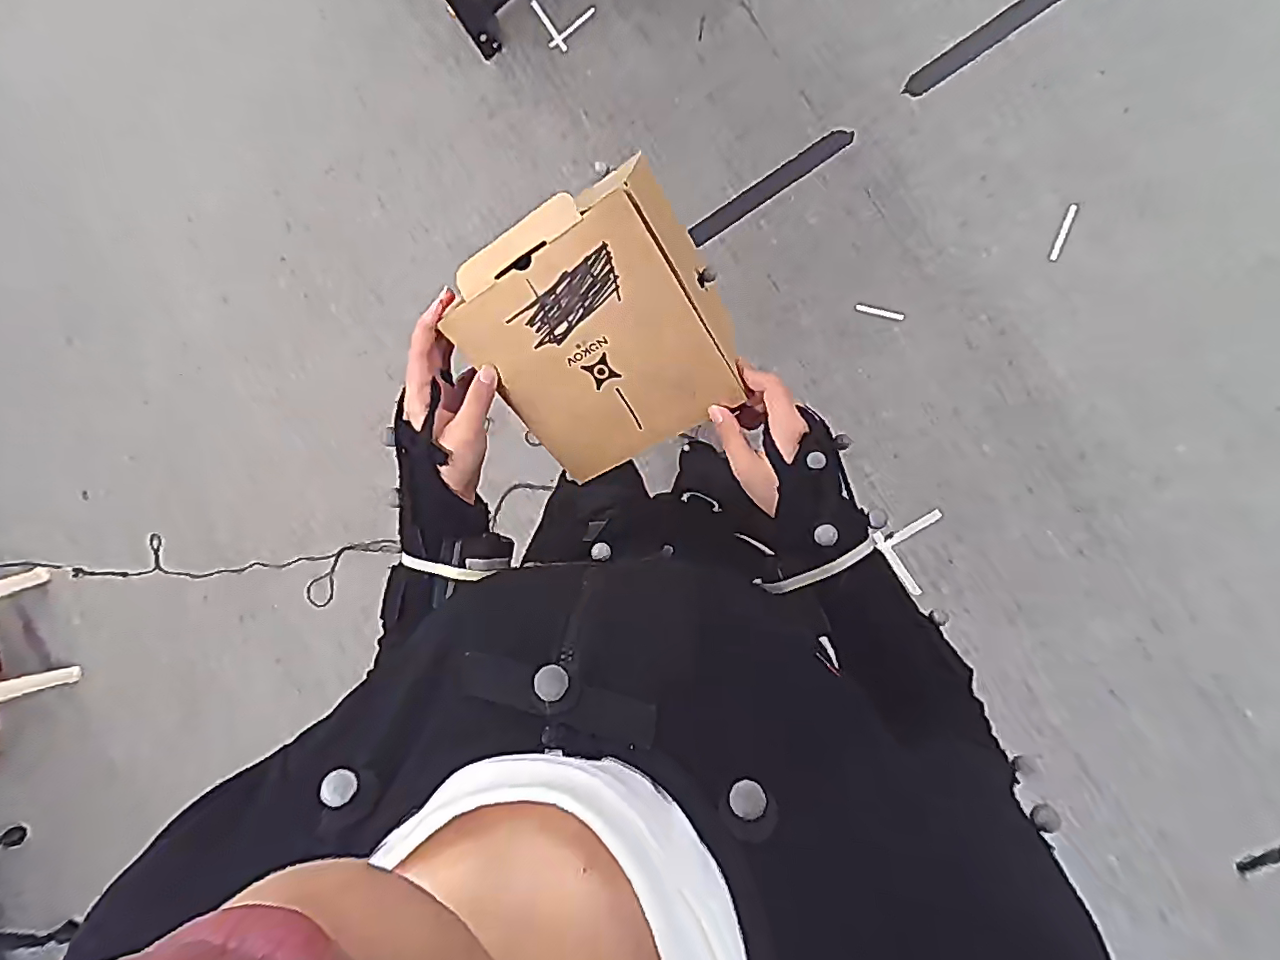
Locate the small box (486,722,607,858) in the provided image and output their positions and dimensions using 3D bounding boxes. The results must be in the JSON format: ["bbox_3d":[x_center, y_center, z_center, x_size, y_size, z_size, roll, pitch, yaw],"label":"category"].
[{"bbox_3d":[-0.200,0.671,1.201,0.168,0.176,0.179,-40,87,11],"label":"small box"}]

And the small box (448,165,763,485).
[{"bbox_3d":[-0.017,-0.134,0.452,0.168,0.176,0.179,-26,120,23],"label":"small box"}]
